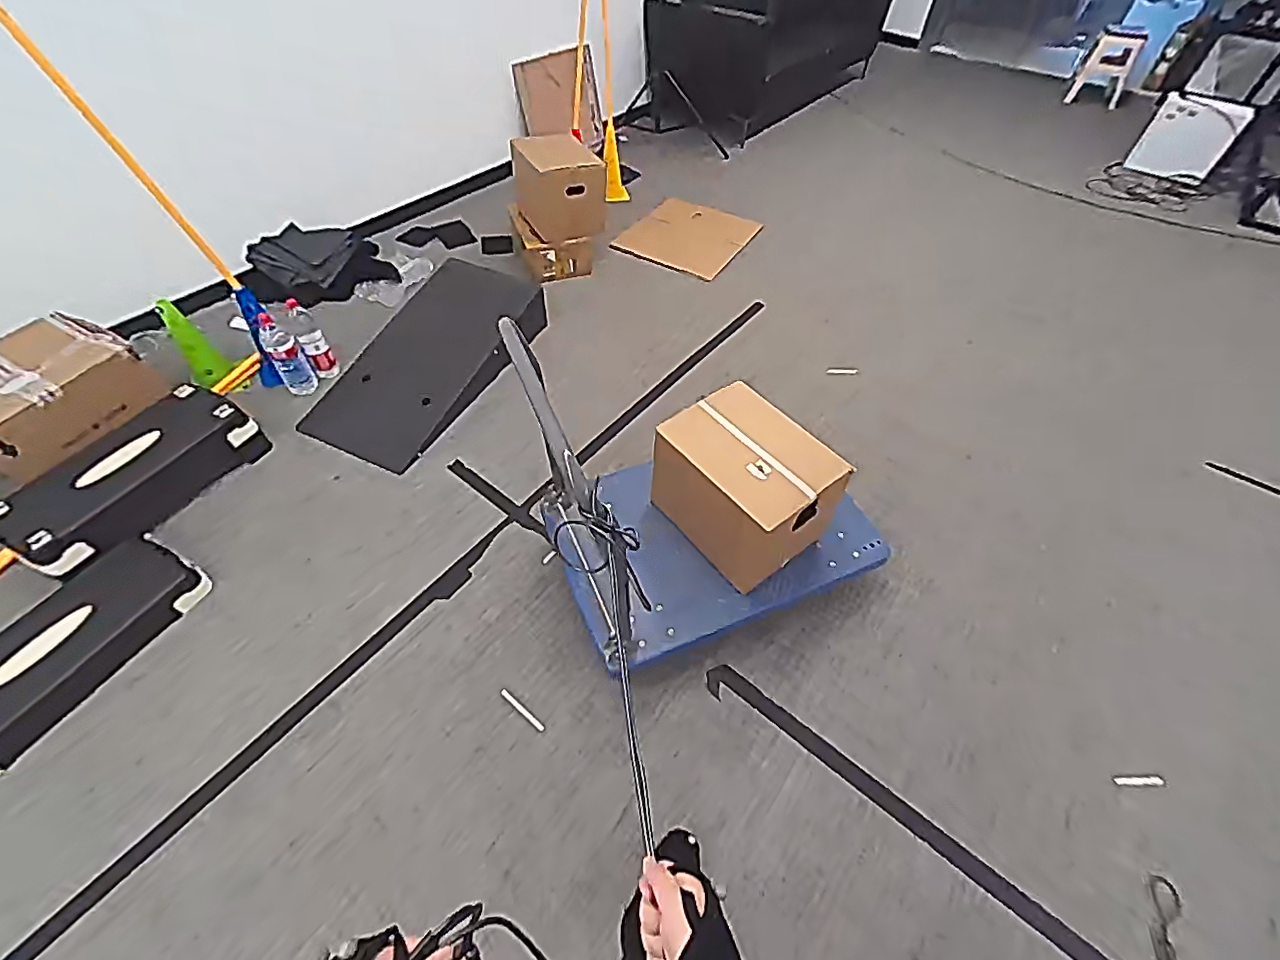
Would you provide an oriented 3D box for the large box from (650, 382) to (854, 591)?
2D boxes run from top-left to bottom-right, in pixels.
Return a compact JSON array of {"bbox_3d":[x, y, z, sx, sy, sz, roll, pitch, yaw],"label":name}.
[{"bbox_3d":[0.274,0.012,1.460,0.320,0.320,0.408,-31,60,-23],"label":"large box"}]
